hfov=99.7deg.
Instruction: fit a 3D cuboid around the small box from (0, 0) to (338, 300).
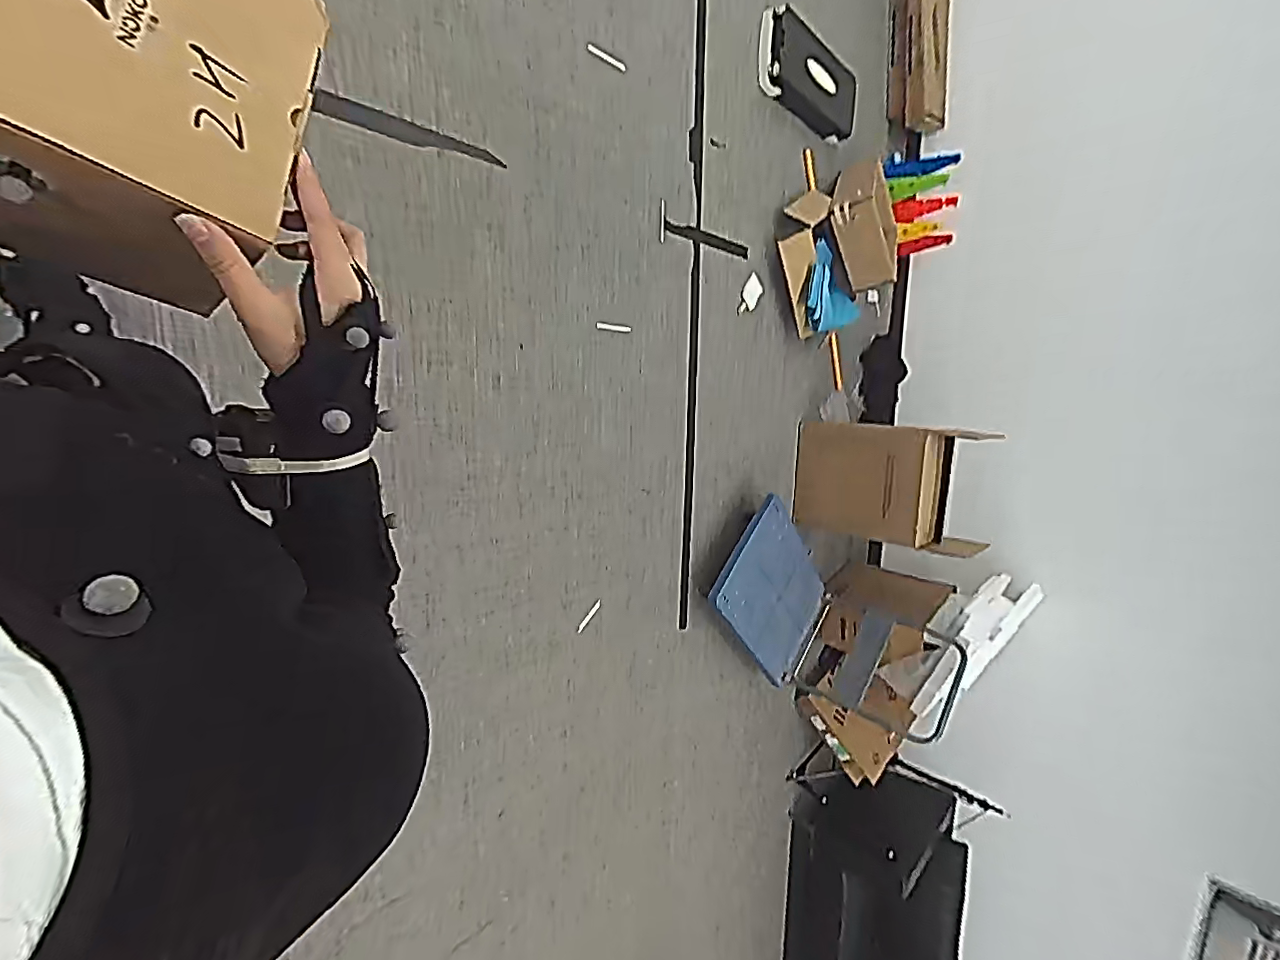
[{"bbox_3d":[-0.314,-0.228,0.314,0.179,0.176,0.168,17,75,-47],"label":"small box"}]
